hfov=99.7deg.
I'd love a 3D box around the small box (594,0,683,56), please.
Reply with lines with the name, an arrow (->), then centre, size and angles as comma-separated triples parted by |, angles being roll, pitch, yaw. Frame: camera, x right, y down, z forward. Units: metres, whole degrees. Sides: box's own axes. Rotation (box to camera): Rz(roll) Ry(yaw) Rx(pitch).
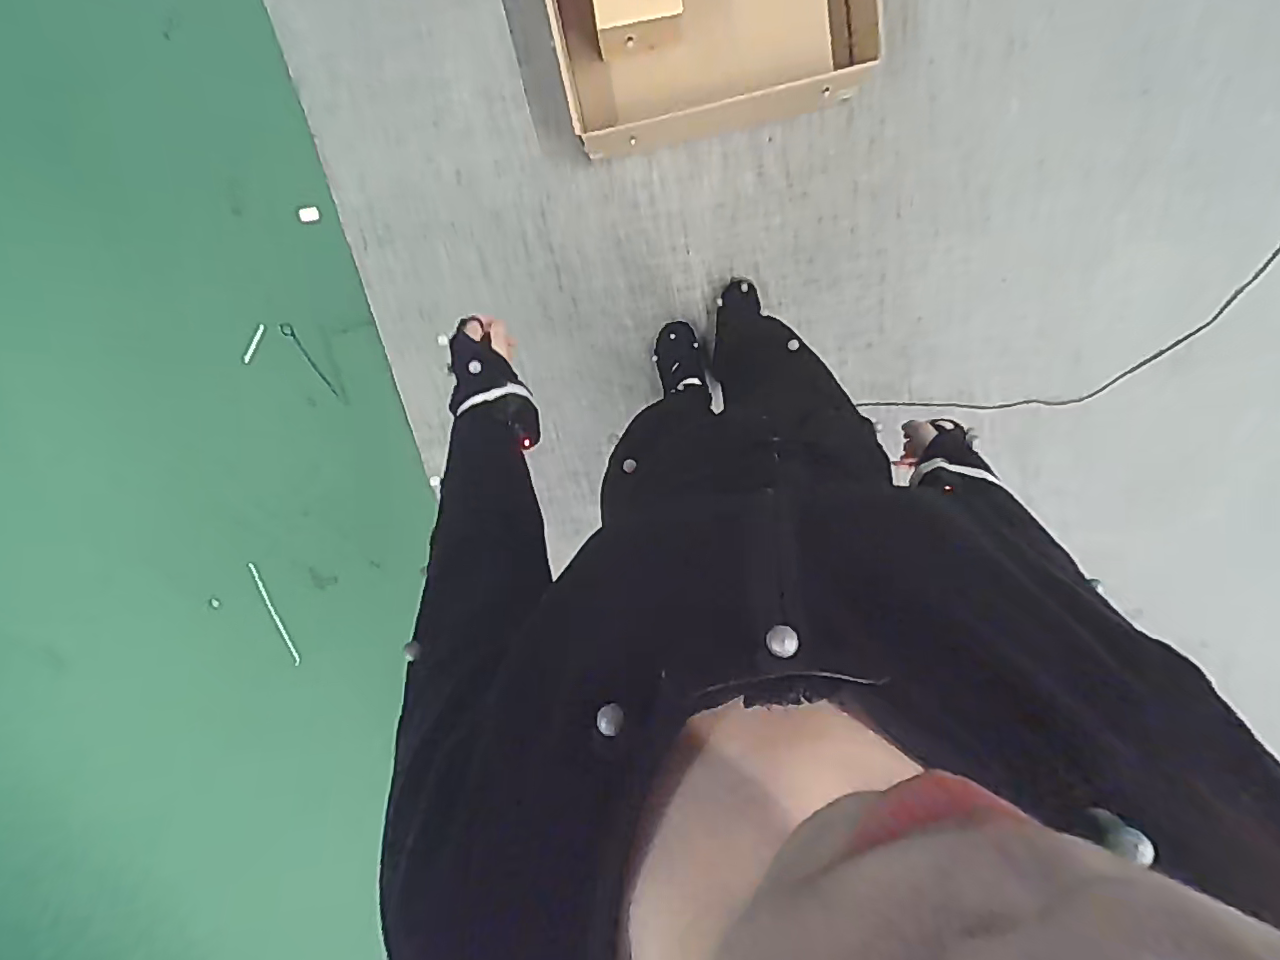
small box -> -0.007, -0.965, 1.055 | 0.168, 0.176, 0.179 | -8, 109, 4
